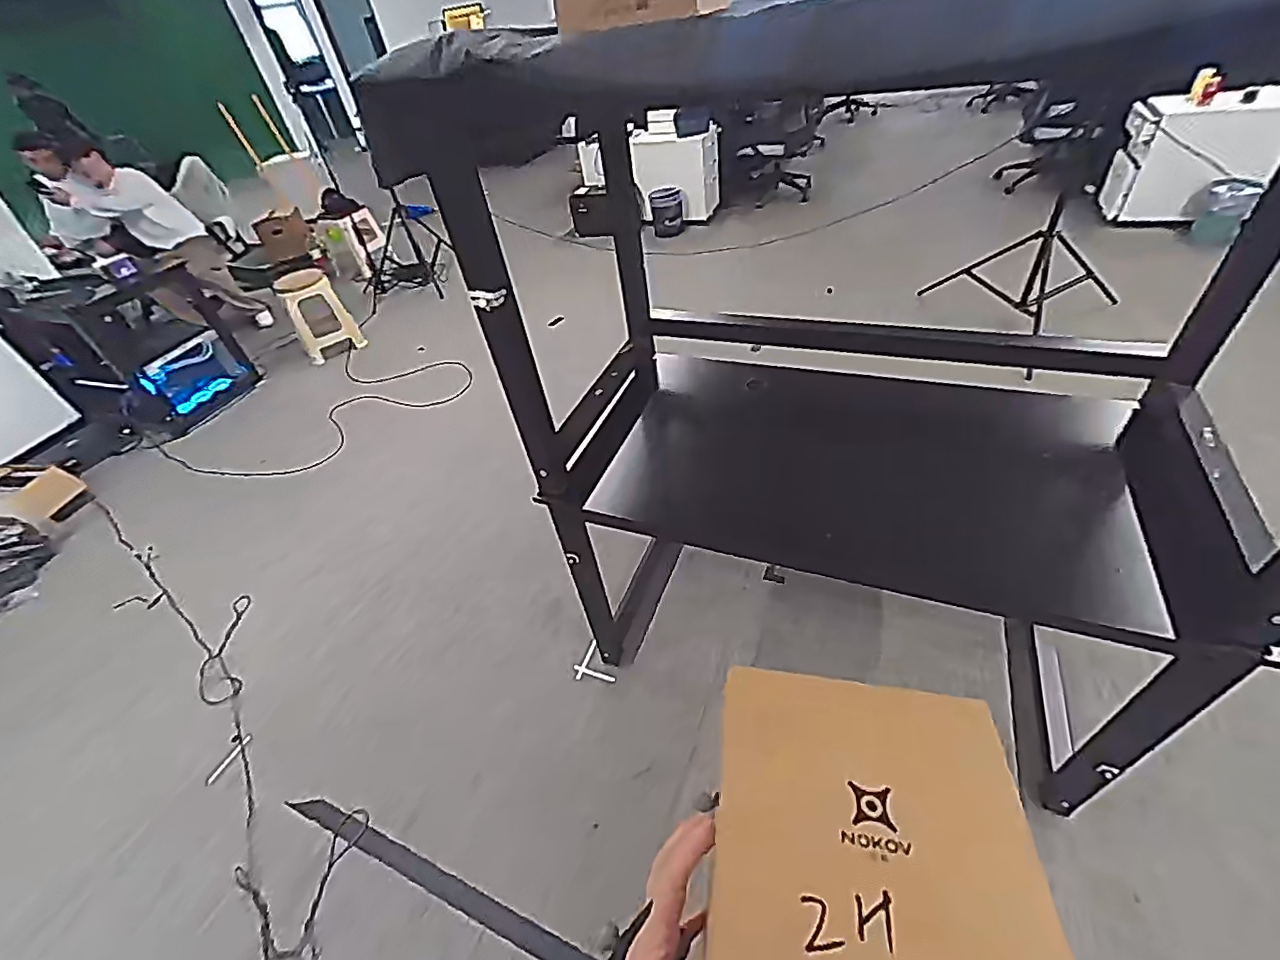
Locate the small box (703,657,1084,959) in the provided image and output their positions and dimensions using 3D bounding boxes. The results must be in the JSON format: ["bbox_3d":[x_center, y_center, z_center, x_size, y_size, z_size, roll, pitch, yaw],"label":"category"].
[{"bbox_3d":[0.130,0.245,0.341,0.168,0.176,0.179,5,39,10],"label":"small box"}]

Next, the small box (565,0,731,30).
[{"bbox_3d":[0.008,-0.609,0.587,0.168,0.176,0.179,8,45,18],"label":"small box"}]
